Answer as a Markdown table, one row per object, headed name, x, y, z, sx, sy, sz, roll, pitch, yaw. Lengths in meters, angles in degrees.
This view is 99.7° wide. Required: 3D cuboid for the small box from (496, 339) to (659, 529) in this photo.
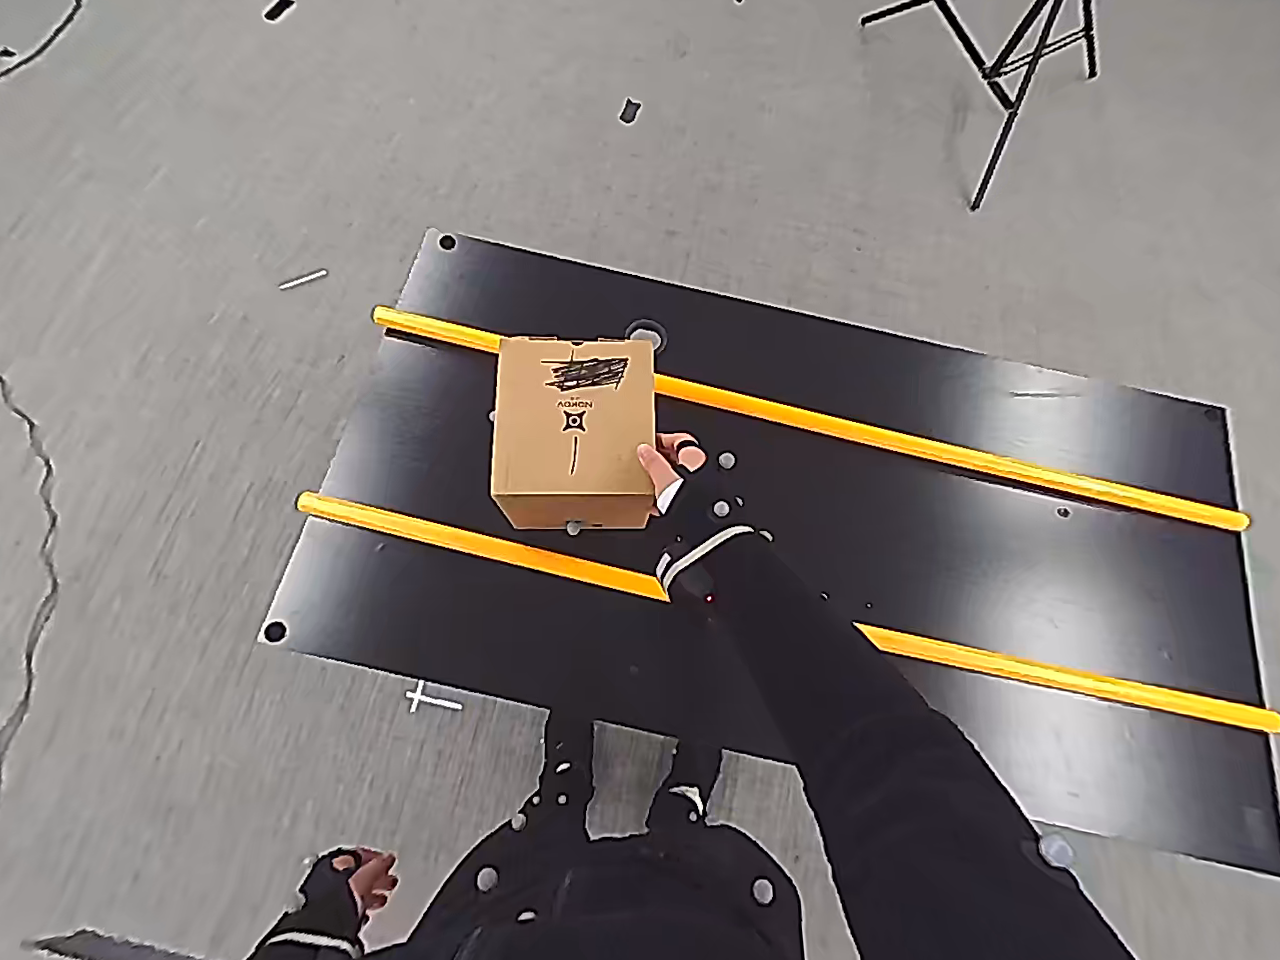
| name | x | y | z | sx | sy | sz | roll | pitch | yaw |
| --- | --- | --- | --- | --- | --- | --- | --- | --- | --- |
| small box | -0.069 | -0.045 | 0.641 | 0.168 | 0.176 | 0.179 | 0 | 73 | -4 |
